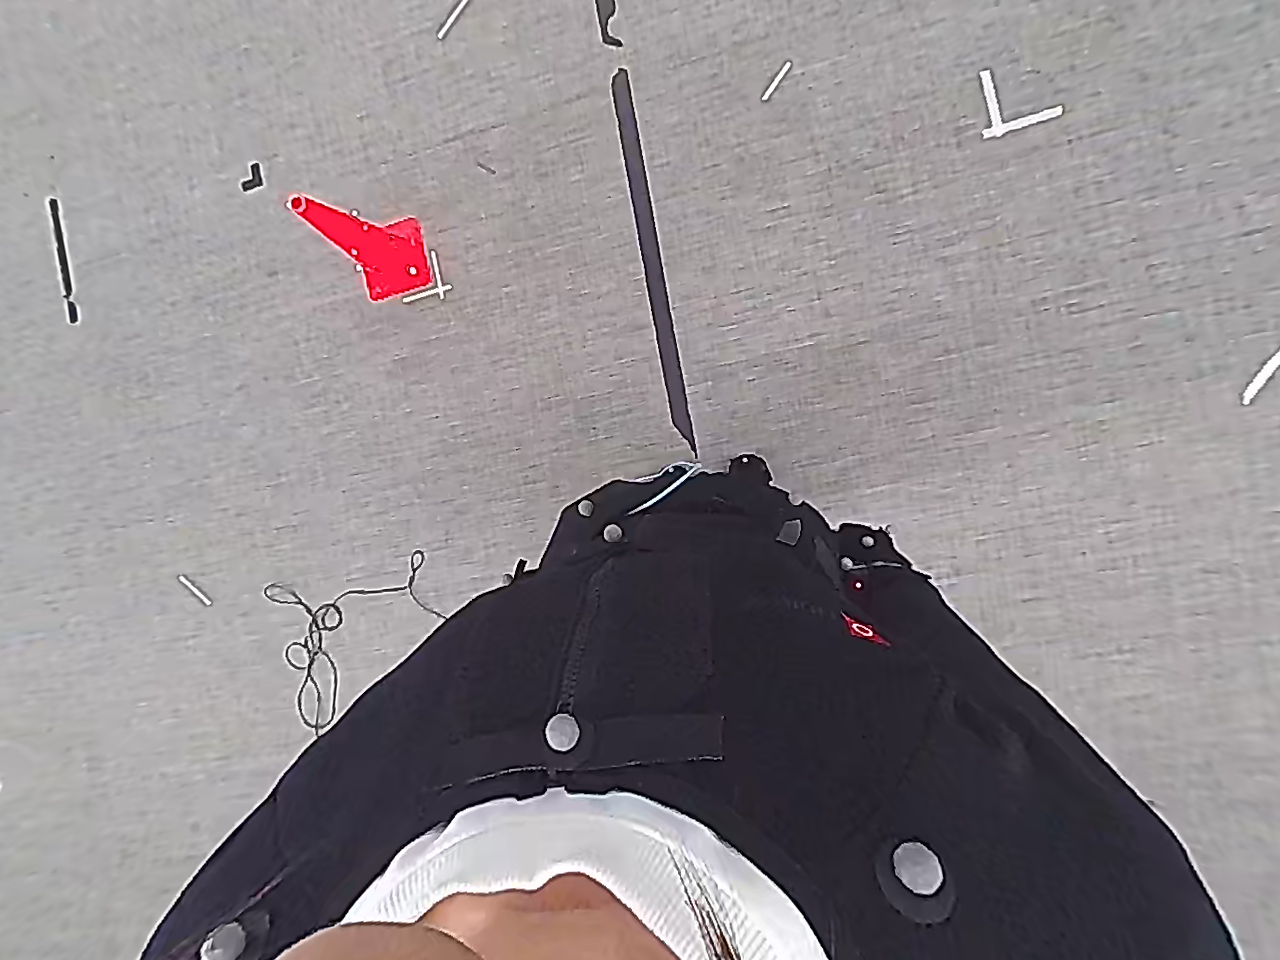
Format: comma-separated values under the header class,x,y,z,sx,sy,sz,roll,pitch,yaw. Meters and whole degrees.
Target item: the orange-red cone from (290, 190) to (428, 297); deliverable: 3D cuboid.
class,x,y,z,sx,sy,sz,roll,pitch,yaw
orange-red cone,-0.727,-0.626,1.360,0.198,0.360,0.199,-12,89,9
